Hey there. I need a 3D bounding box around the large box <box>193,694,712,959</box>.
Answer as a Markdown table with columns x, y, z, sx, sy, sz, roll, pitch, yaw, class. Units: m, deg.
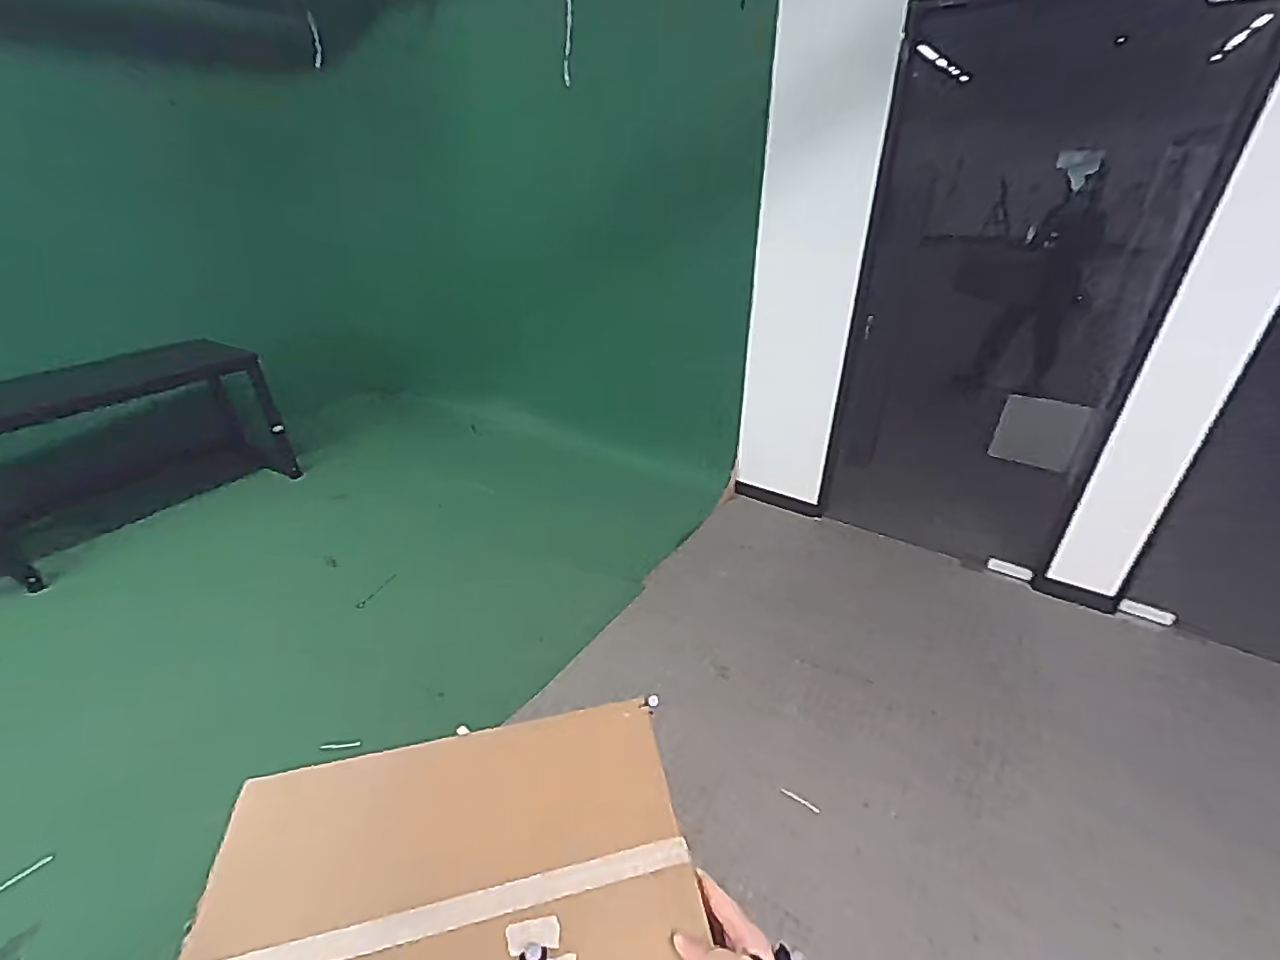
| x | y | z | sx | sy | sz | roll | pitch | yaw | class |
| --- | --- | --- | --- | --- | --- | --- | --- | --- | --- |
| -0.161 | 0.477 | 0.541 | 0.408 | 0.320 | 0.320 | -7 | 37 | -12 | large box |
